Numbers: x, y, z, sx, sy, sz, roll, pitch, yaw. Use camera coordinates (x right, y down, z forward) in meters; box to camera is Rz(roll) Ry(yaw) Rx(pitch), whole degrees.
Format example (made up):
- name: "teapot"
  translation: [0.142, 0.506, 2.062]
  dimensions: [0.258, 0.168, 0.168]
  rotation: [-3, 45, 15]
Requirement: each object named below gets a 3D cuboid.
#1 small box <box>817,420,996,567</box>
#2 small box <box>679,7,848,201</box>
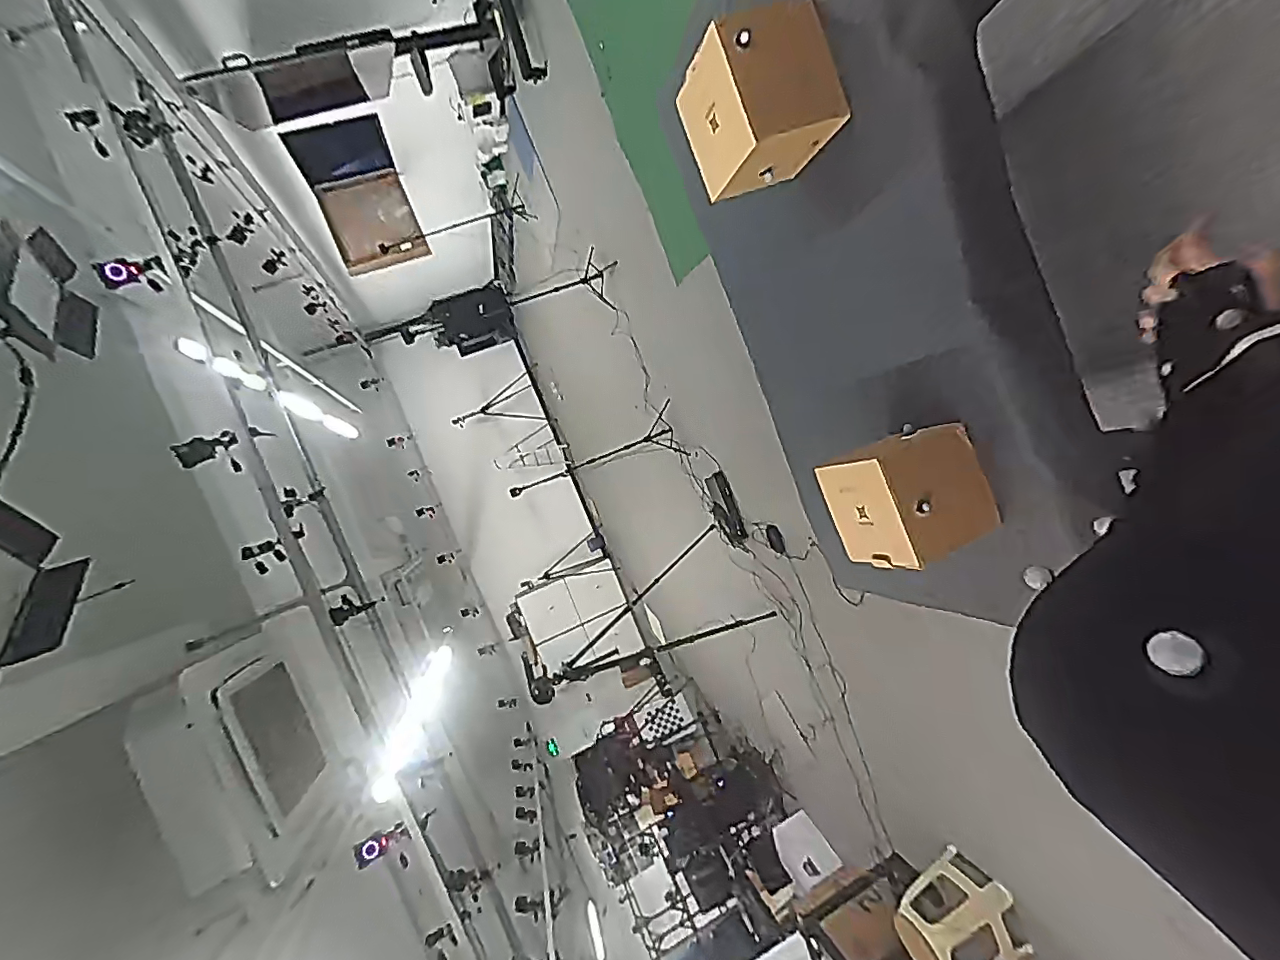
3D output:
- name: "small box"
  translation: [0.426, 0.022, 0.871]
  dimensions: [0.168, 0.176, 0.179]
  rotation: [162, 87, -75]
- name: "small box"
  translation: [0.188, -0.574, 0.835]
  dimensions: [0.179, 0.176, 0.168]
  rotation: [69, 167, -5]
